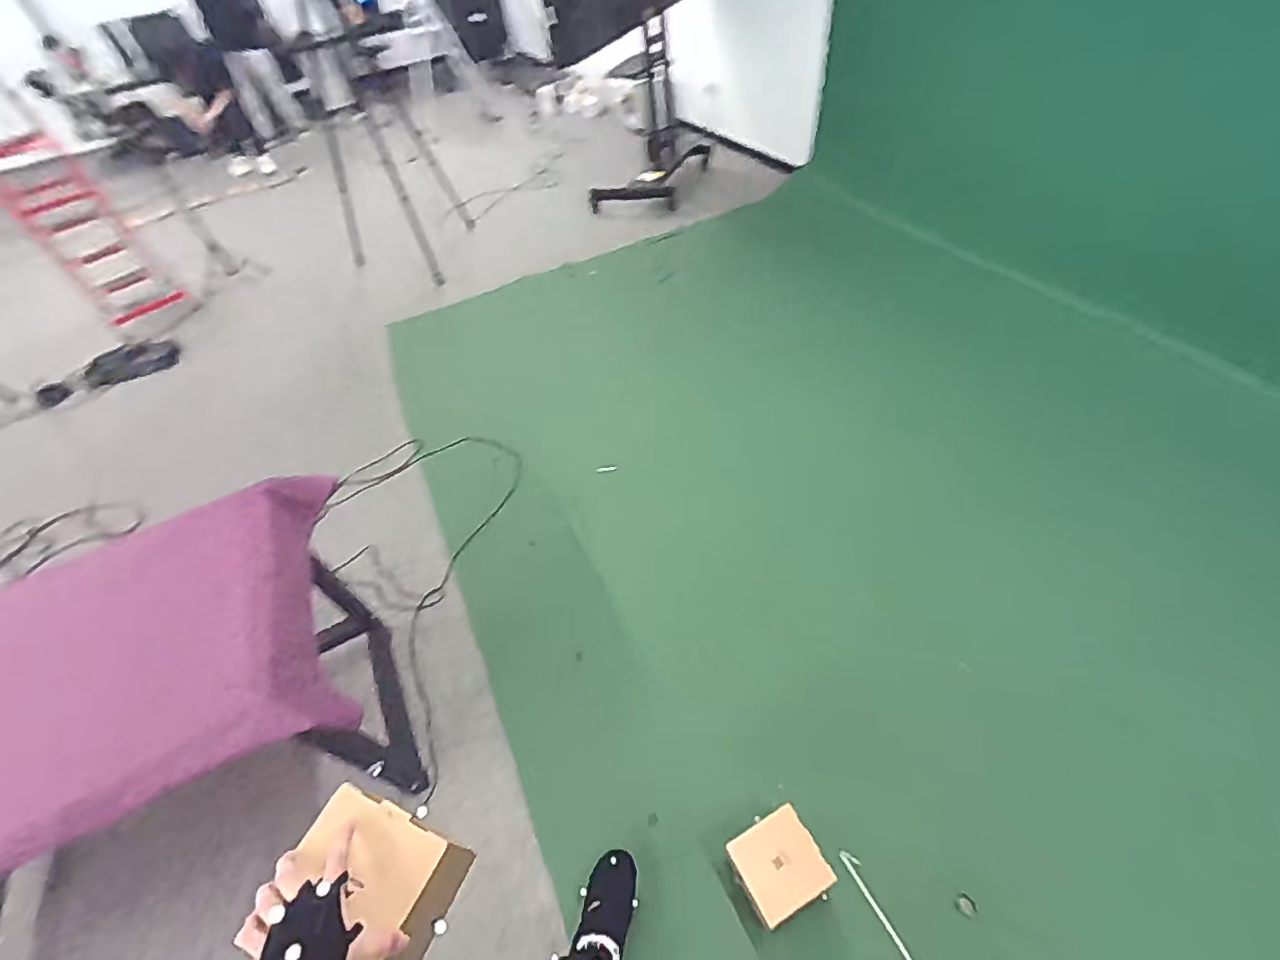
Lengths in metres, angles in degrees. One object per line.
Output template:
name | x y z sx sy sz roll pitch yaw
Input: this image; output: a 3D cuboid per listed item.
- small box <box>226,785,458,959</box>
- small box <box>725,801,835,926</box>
small box | -0.355 0.529 0.690 0.168 0.176 0.179 19 53 14
small box | 0.310 0.870 1.222 0.179 0.176 0.168 -25 50 -13
